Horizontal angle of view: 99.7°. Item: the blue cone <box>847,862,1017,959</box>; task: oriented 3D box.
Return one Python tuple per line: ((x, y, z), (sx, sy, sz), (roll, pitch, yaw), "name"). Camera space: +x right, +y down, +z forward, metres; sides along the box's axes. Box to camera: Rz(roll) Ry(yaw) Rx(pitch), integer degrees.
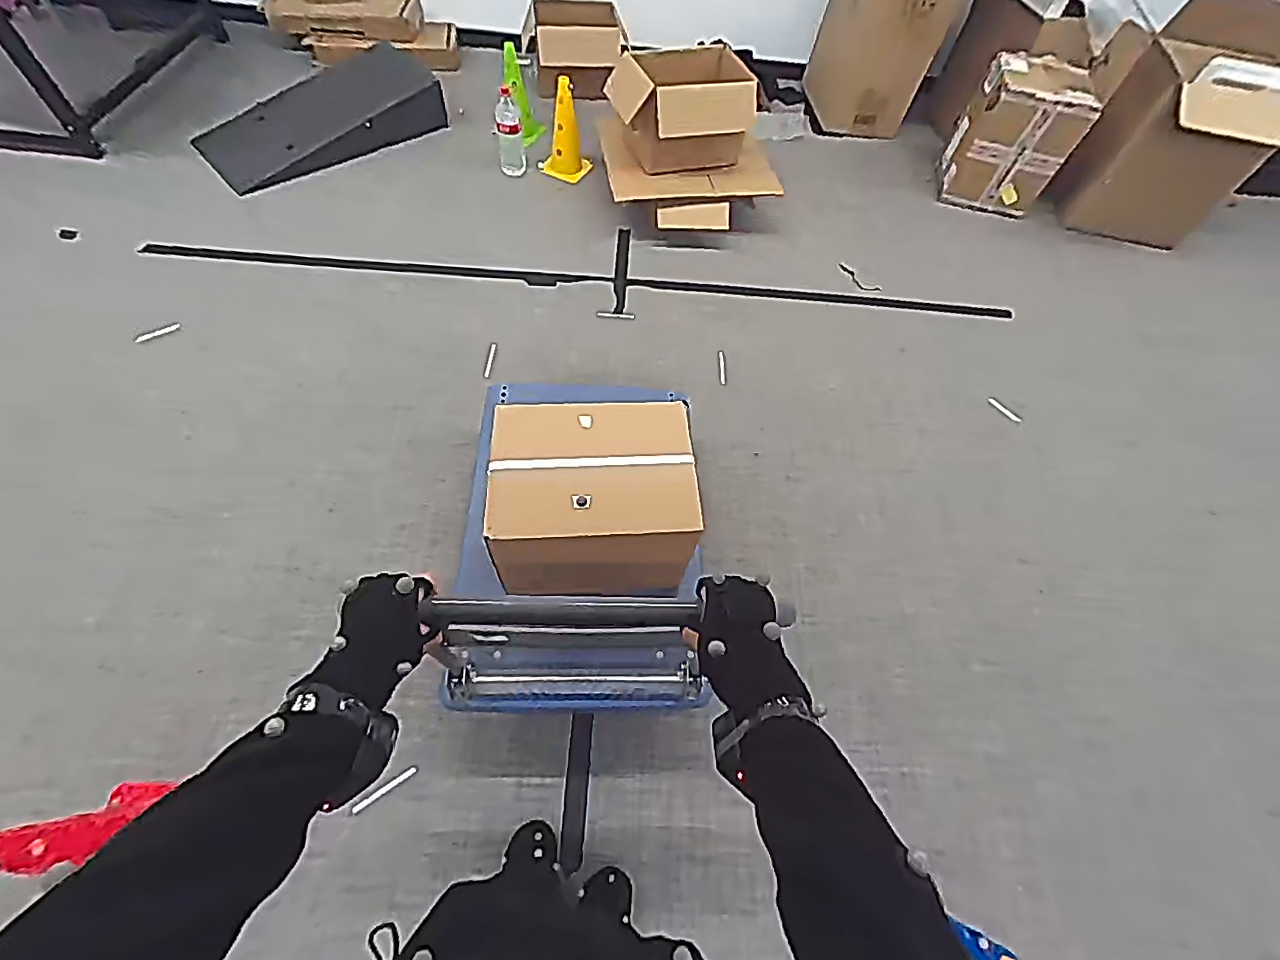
((0.552, 0.827, 0.984), (0.193, 0.380, 0.192), (0, 58, -6), "blue cone")
